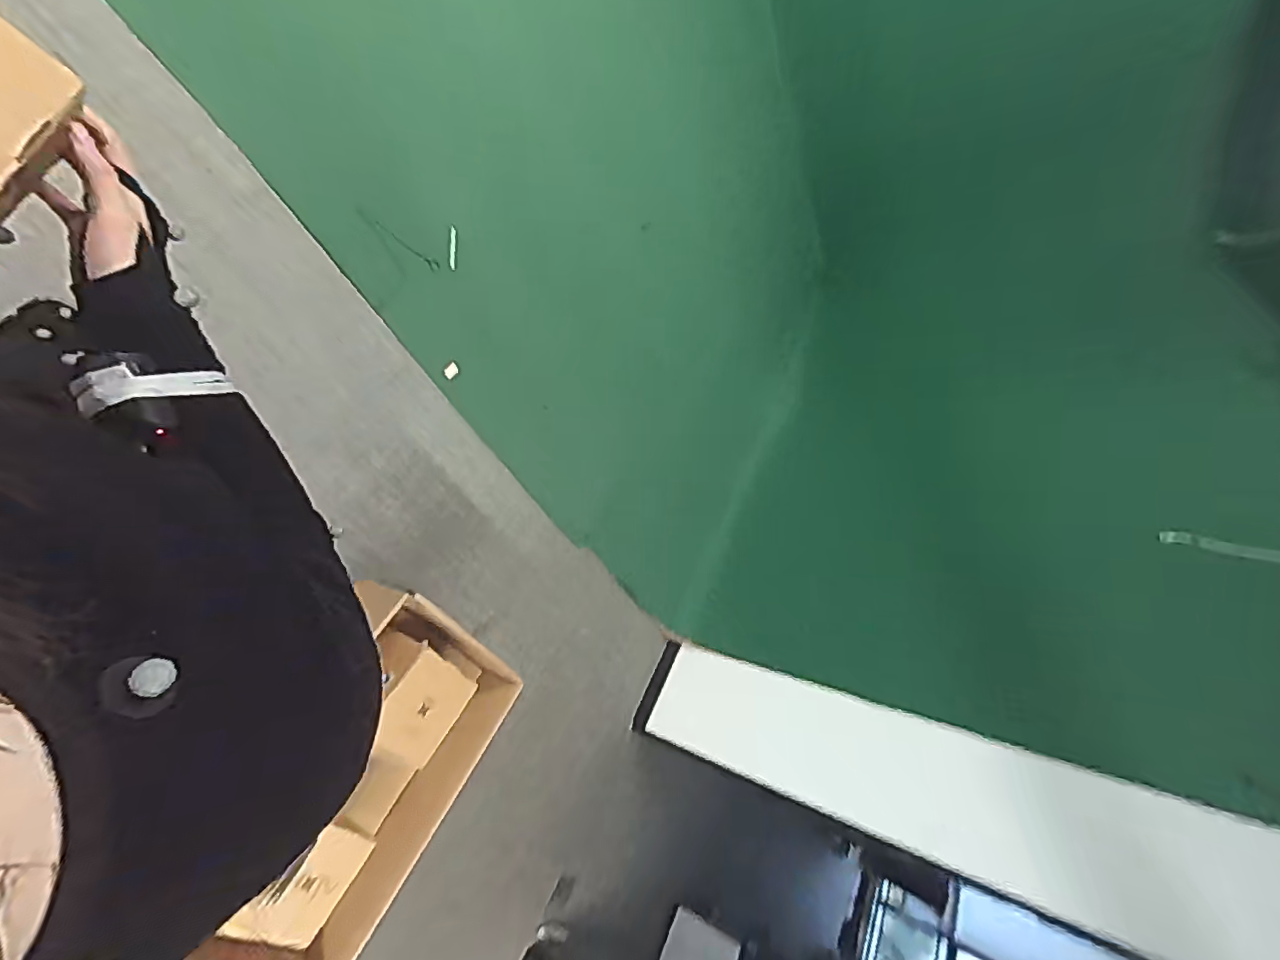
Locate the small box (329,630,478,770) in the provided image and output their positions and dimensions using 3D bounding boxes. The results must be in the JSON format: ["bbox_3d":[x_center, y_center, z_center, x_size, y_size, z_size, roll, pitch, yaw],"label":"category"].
[{"bbox_3d":[-0.465,0.423,1.064,0.179,0.176,0.168,-56,134,-30],"label":"small box"}]
